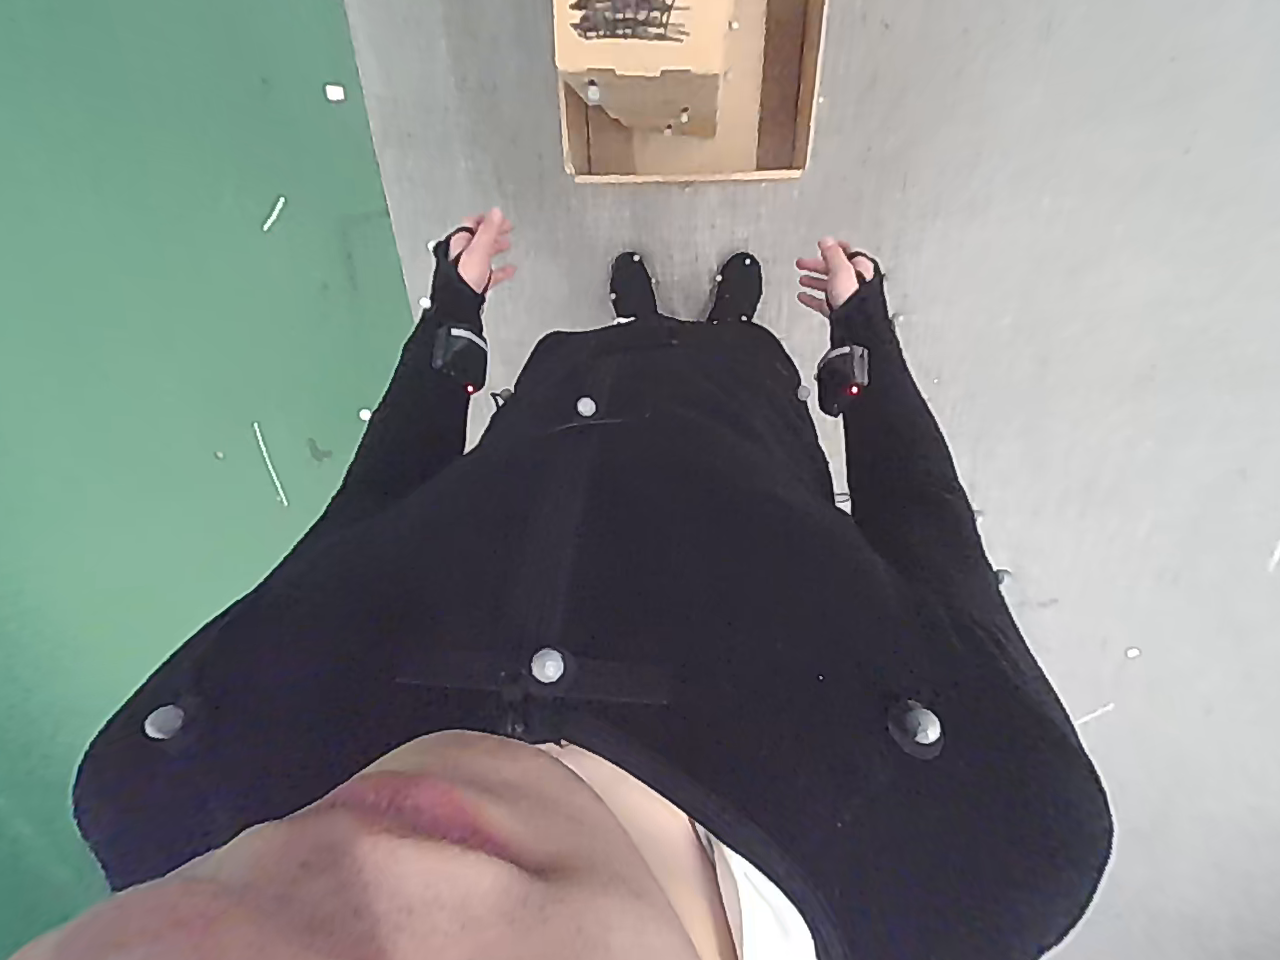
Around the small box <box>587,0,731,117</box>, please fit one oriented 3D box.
[{"bbox_3d":[0.030,-0.591,0.703,0.168,0.176,0.179,6,115,3],"label":"small box"}]
